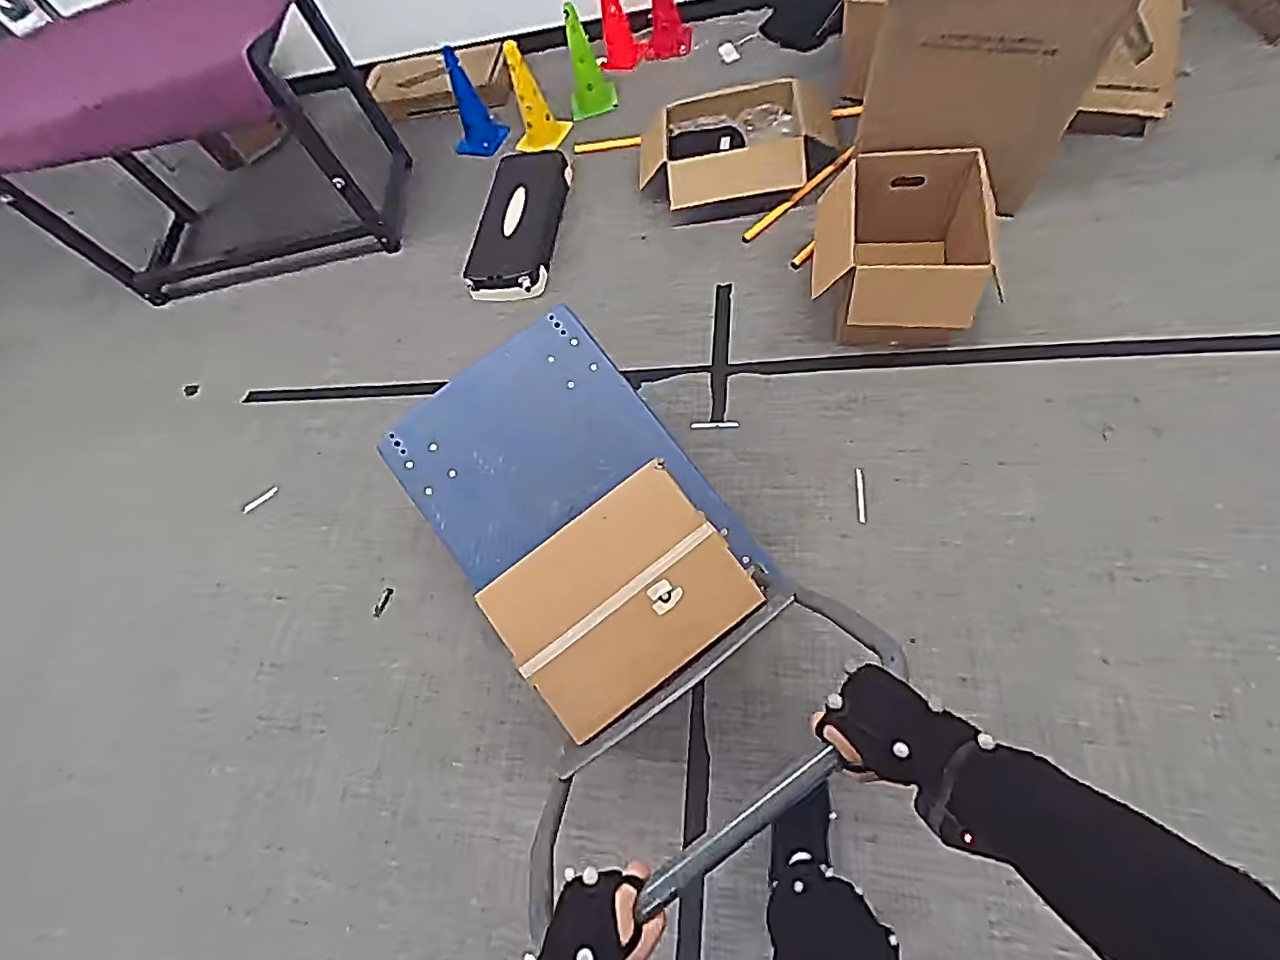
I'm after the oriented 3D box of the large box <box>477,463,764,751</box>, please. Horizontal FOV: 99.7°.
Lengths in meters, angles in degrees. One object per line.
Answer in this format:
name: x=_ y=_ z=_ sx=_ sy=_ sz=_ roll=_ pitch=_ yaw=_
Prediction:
large box: x=-0.031 y=0.231 z=1.062 sx=0.408 sy=0.320 sz=0.320 roll=-38 pitch=83 yaw=-4
